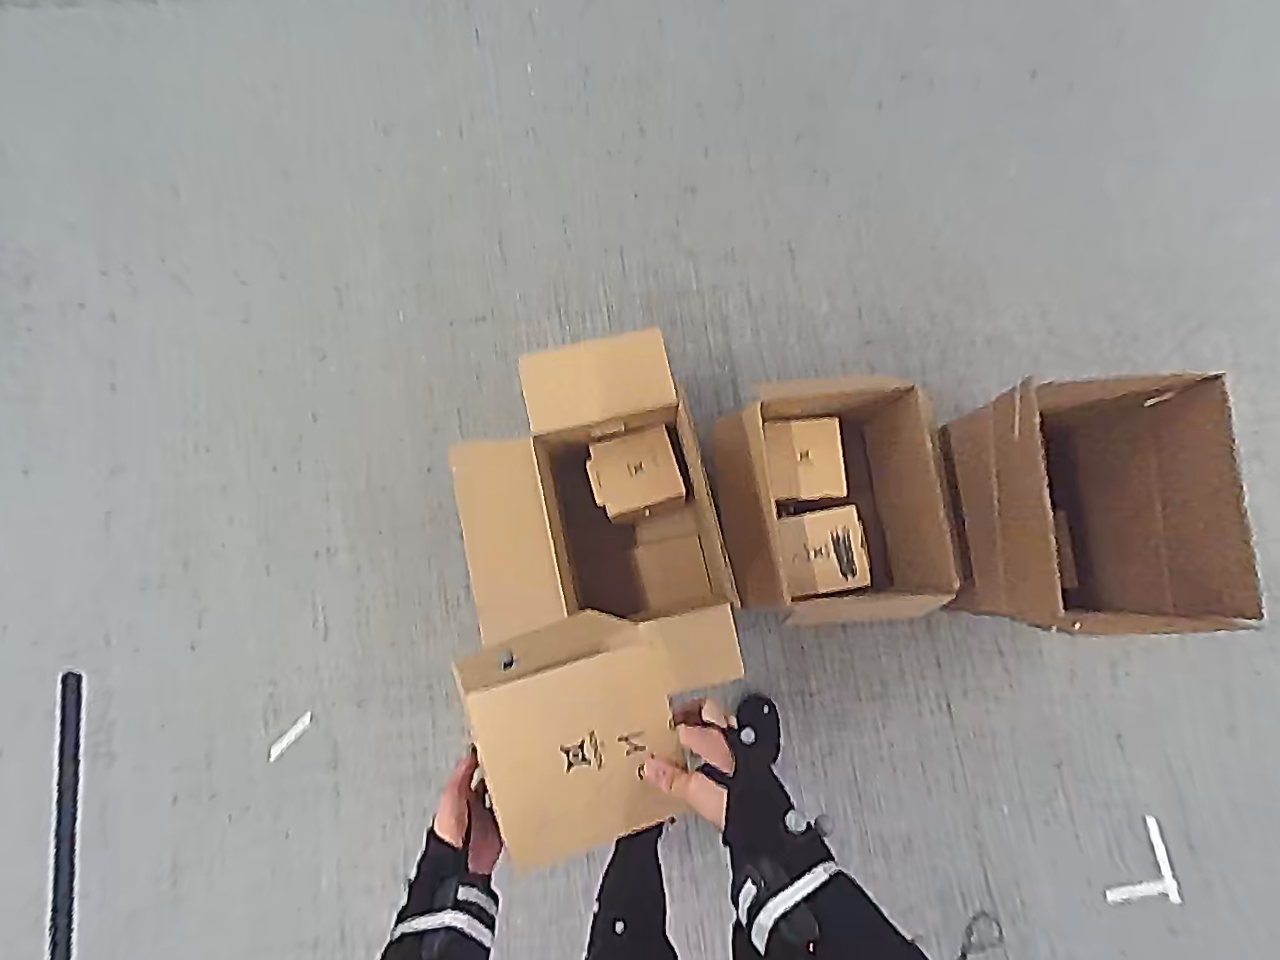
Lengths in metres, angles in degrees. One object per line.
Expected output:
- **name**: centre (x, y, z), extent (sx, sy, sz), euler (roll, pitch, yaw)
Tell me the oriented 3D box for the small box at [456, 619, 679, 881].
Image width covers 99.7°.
- **small box**: centre (-0.088, 0.258, 0.570), extent (0.179, 0.176, 0.168), euler (-15, 89, -24)
